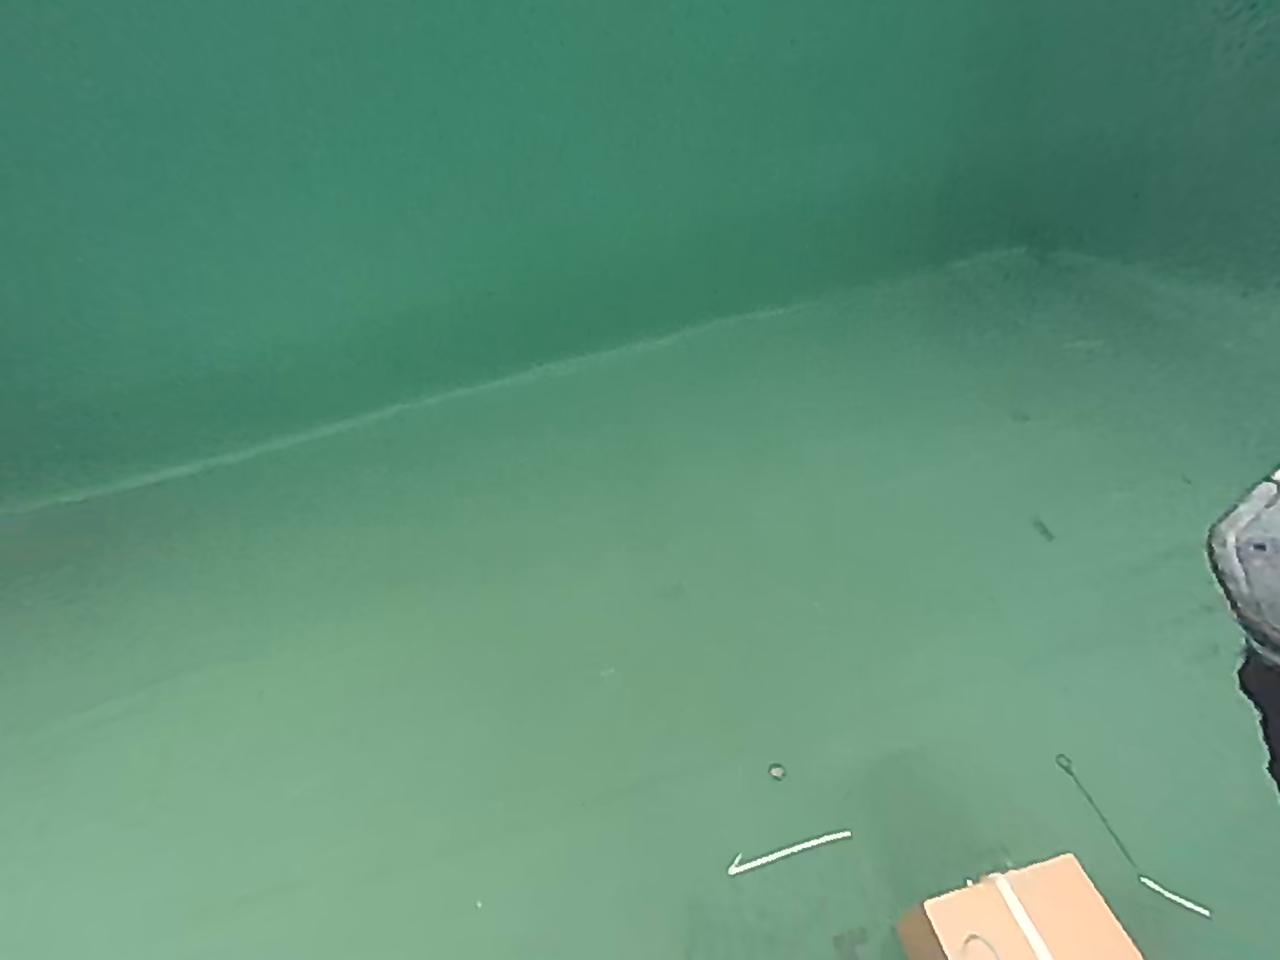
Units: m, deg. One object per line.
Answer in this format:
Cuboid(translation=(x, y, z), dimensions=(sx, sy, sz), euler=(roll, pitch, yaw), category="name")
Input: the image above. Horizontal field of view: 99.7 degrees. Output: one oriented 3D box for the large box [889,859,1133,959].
Cuboid(translation=(0.736, 1.003, 0.998), dimensions=(0.320, 0.320, 0.408), euler=(-15, 46, -4), category="large box")
